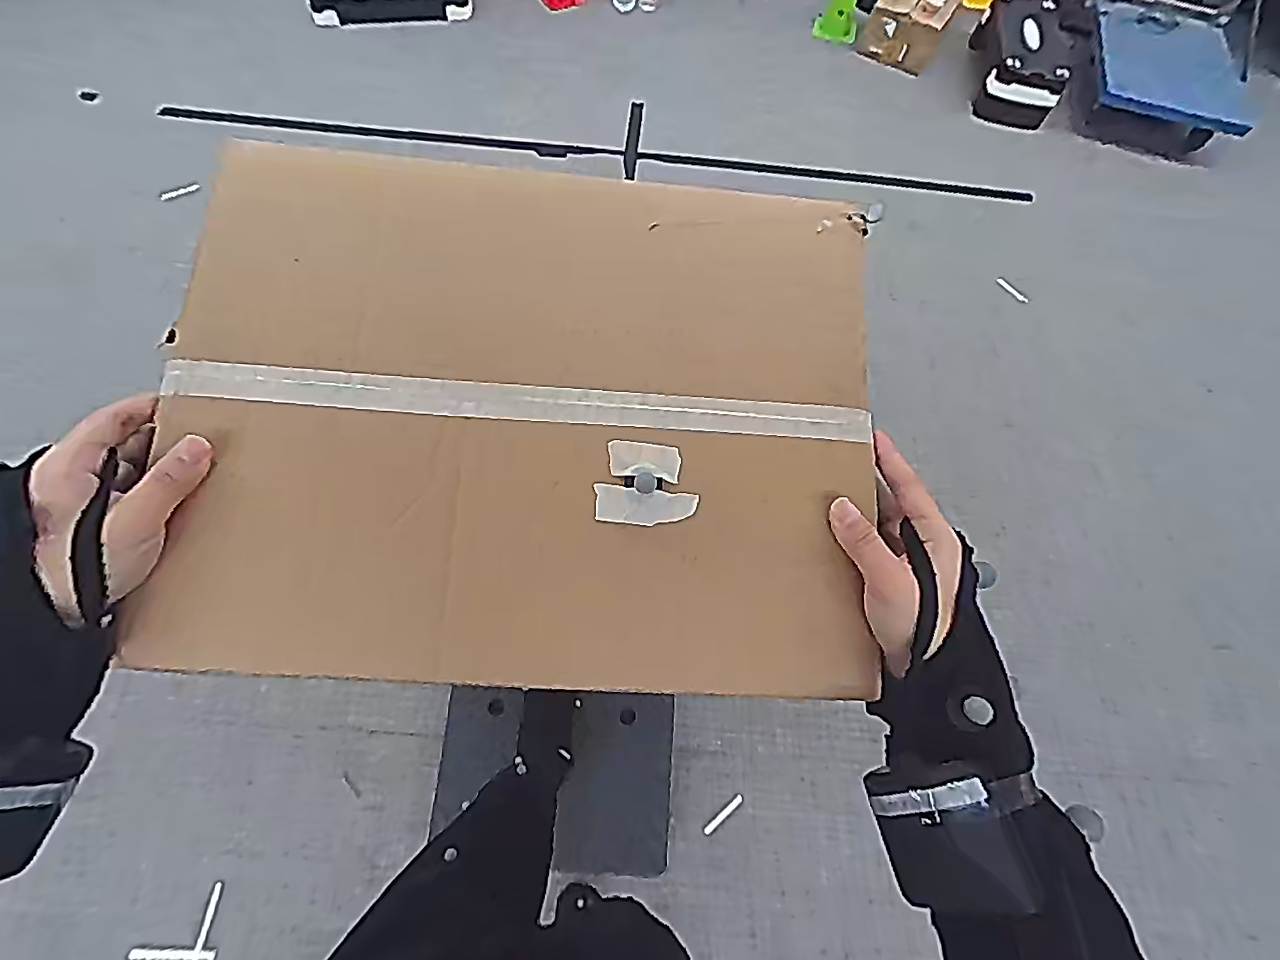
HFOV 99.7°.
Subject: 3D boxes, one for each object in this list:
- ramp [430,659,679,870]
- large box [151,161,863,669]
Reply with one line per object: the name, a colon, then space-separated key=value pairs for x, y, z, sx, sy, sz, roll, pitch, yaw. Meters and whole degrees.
ramp: x=-0.147 y=0.305 z=1.239 sx=0.509 sy=0.206 sz=0.991 roll=4 pitch=65 yaw=-3
large box: x=-0.073 y=-0.019 z=0.479 sx=0.408 sy=0.320 sz=0.320 roll=4 pitch=79 yaw=-4
